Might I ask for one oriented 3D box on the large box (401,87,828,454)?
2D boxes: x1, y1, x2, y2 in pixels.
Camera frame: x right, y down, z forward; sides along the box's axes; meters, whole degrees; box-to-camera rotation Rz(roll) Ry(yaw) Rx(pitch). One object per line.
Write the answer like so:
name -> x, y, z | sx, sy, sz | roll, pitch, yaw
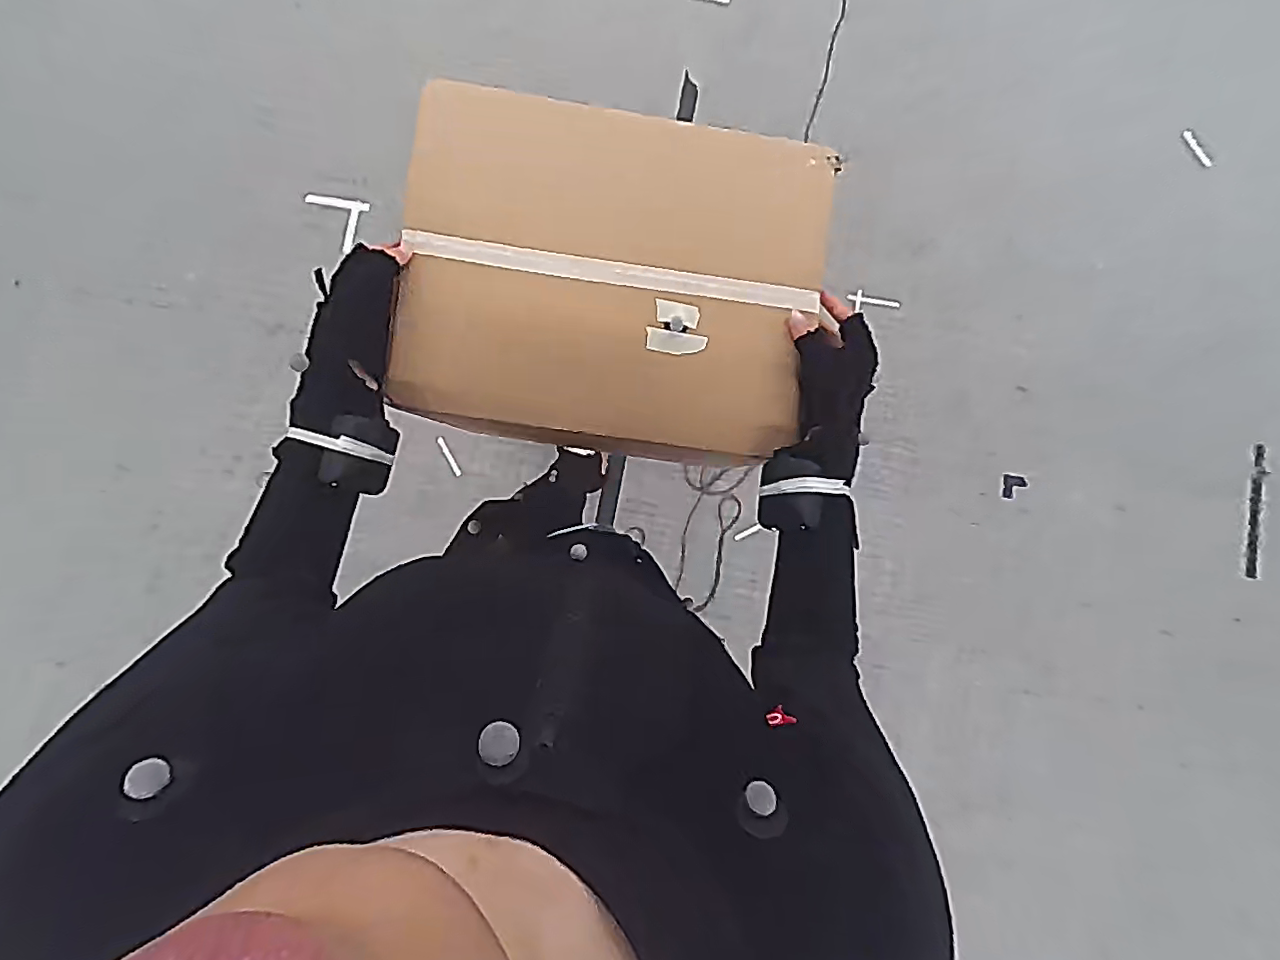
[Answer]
large box -> -0.032, -0.214, 0.689 | 0.408, 0.320, 0.320 | 8, 91, -3
